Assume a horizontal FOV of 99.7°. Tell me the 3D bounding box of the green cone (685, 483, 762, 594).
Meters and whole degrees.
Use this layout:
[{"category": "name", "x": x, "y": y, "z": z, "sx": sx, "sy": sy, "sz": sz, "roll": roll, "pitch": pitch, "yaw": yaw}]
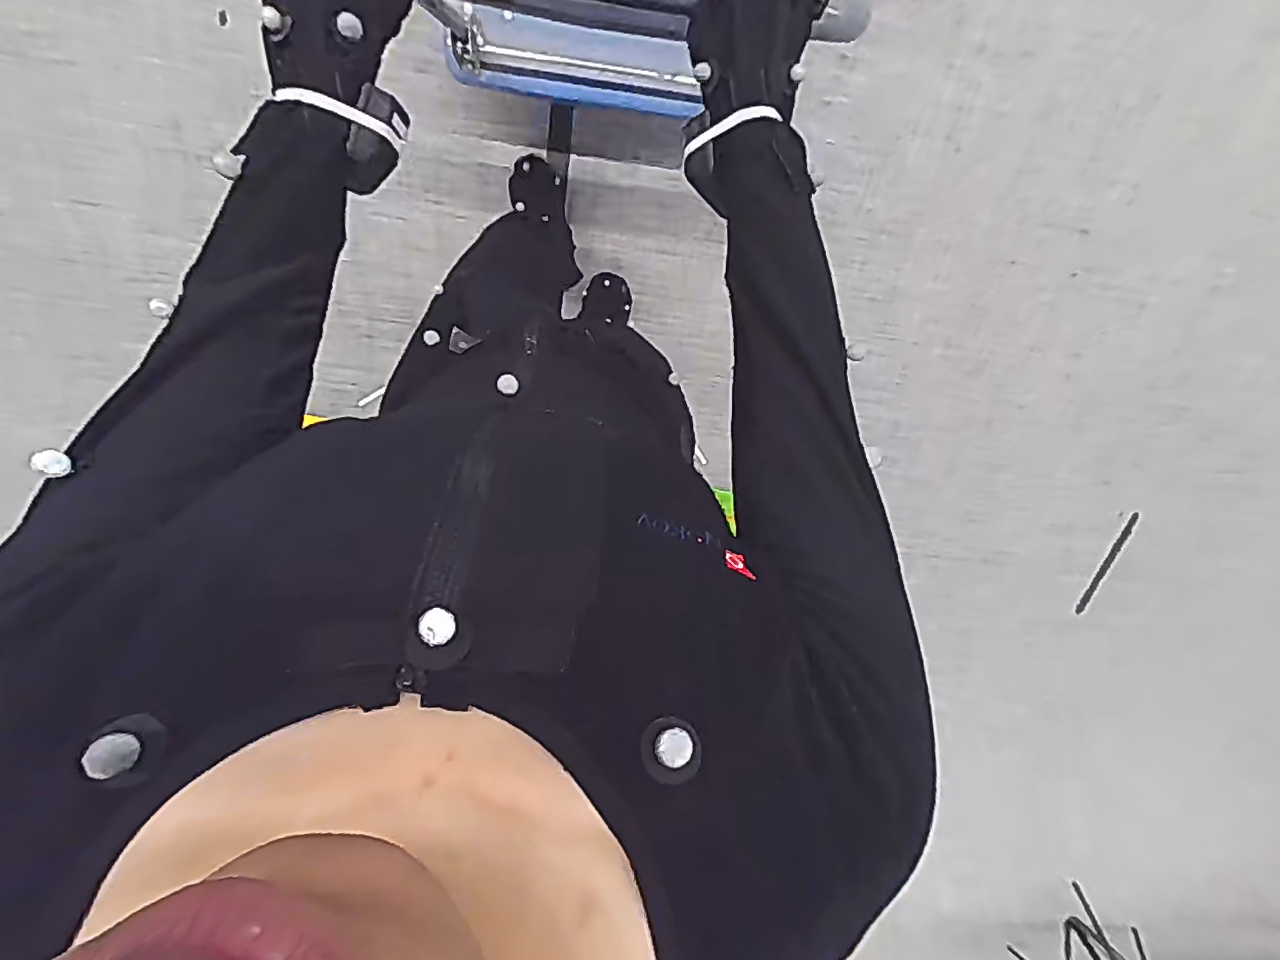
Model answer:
[{"category": "green cone", "x": 0.256, "y": 0.184, "z": 1.473, "sx": 0.202, "sy": 0.368, "sz": 0.200, "roll": 10, "pitch": 116, "yaw": -8}]
